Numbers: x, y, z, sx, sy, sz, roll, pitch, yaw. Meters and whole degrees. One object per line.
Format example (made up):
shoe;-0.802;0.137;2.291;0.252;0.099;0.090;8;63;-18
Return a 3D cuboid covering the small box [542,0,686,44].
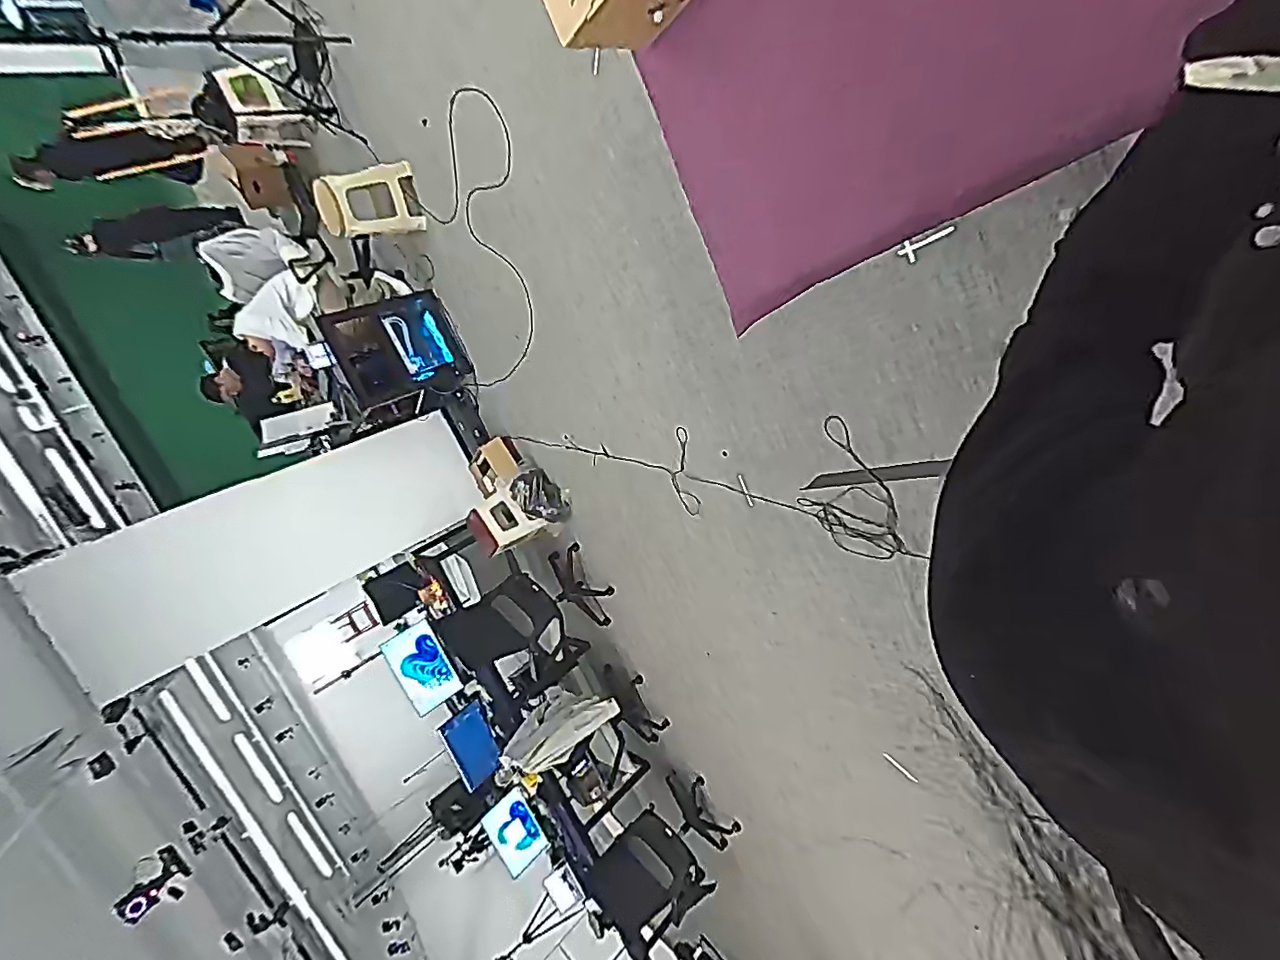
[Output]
small box;-0.034;-0.706;0.696;0.168;0.176;0.179;-3;115;53
